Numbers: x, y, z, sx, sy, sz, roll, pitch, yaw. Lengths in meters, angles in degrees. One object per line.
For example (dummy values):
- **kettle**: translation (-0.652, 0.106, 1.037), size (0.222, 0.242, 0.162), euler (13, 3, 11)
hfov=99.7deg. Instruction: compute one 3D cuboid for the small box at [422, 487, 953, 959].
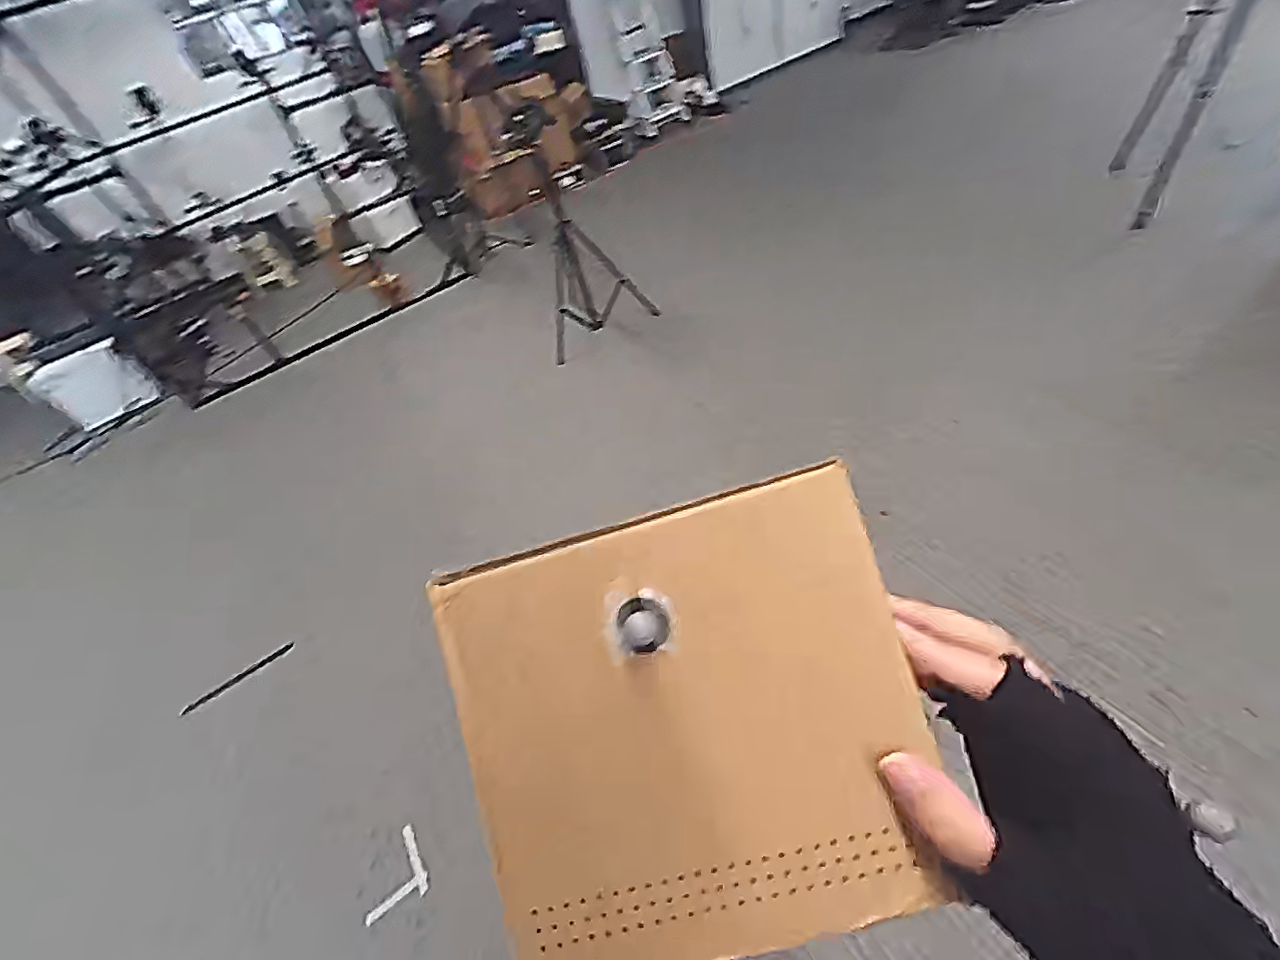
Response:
- **small box**: translation (0.023, 0.113, 0.287), size (0.179, 0.168, 0.176), euler (-17, 84, 6)
